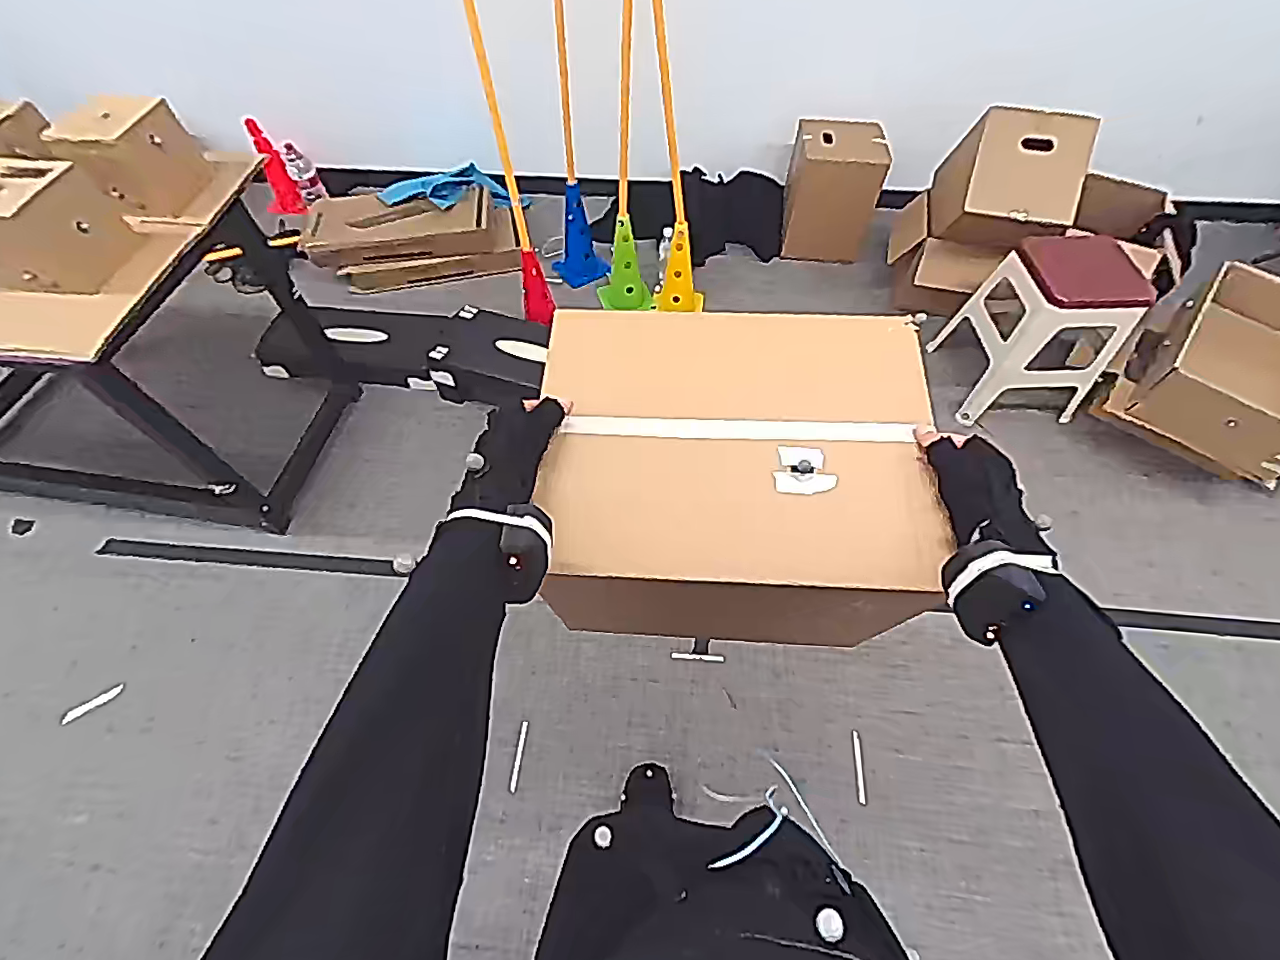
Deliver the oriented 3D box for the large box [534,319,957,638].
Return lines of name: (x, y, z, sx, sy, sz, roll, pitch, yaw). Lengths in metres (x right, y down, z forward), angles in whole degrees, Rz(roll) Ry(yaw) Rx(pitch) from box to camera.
large box: (0.107, 0.017, 0.702, 0.408, 0.320, 0.320, 3, 66, 4)
